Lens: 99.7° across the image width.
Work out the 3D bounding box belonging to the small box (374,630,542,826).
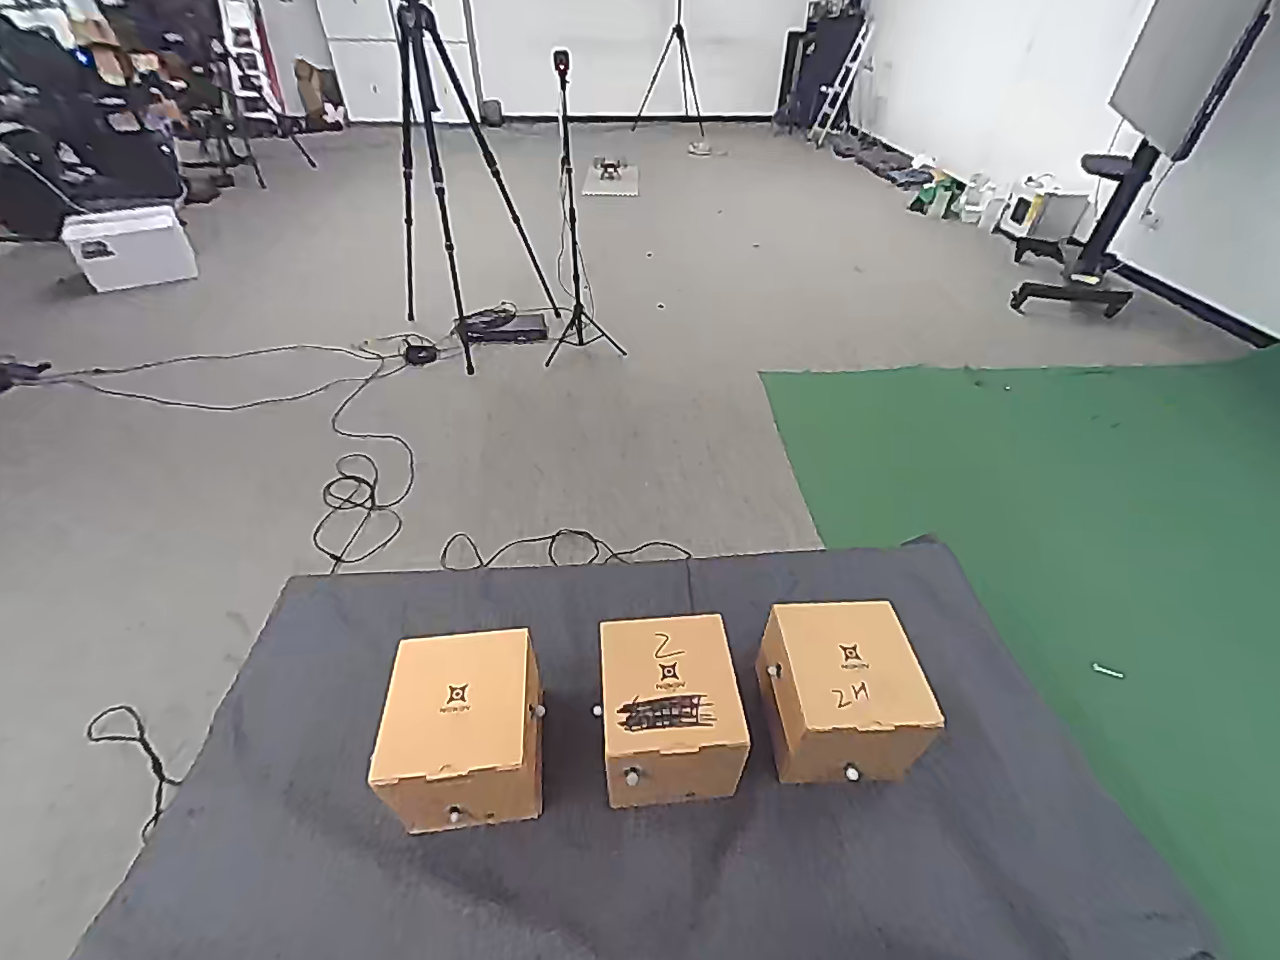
[{"bbox_3d":[-0.221,0.322,0.708,0.168,0.176,0.179,-4,43,-6],"label":"small box"}]
